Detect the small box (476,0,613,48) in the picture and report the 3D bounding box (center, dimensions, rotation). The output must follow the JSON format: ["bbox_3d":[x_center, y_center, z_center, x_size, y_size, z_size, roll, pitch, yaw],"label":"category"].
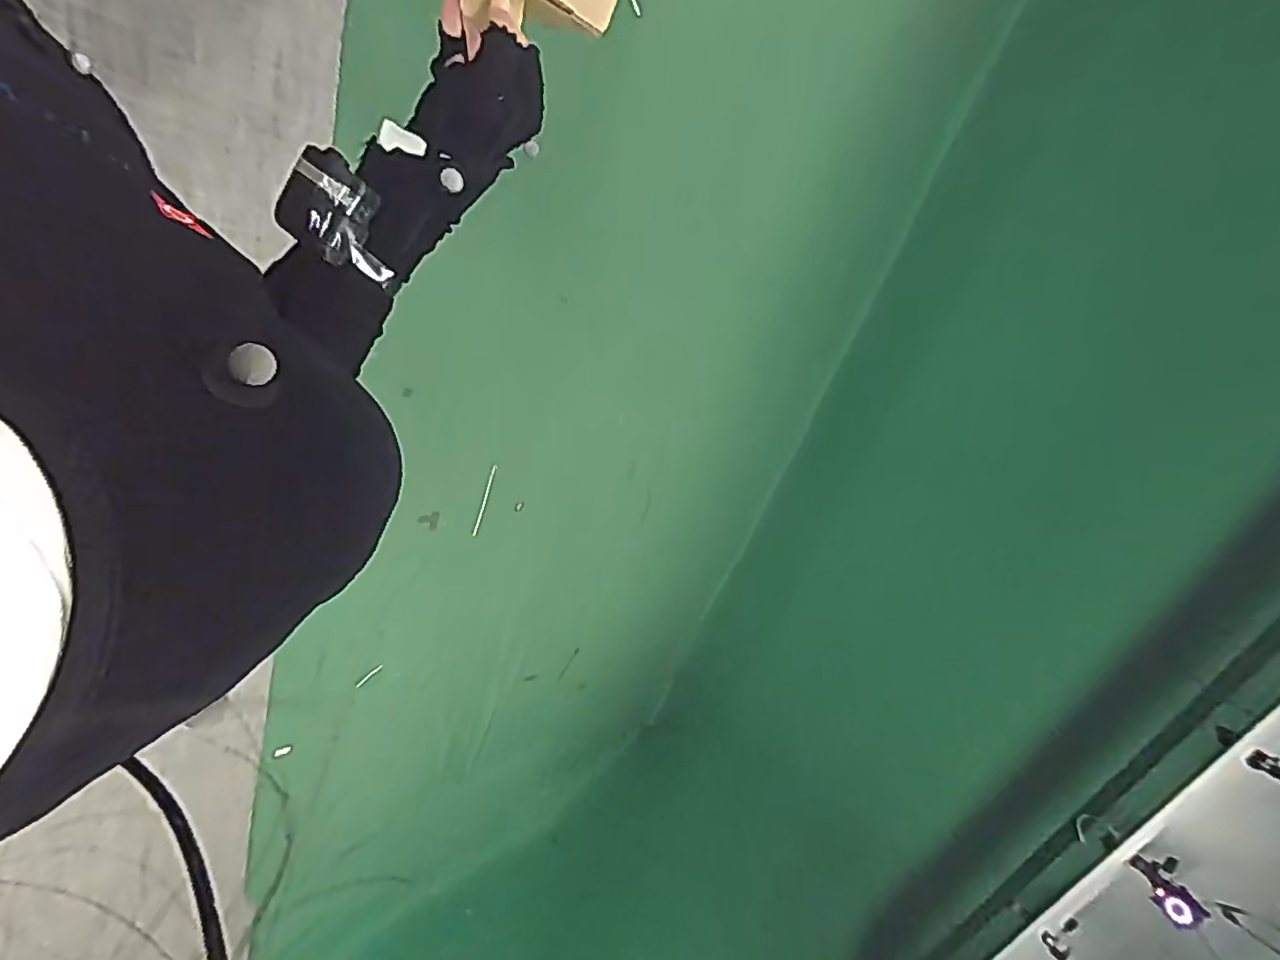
[{"bbox_3d":[-0.102,-0.453,0.376,0.168,0.176,0.179,-2,128,-44],"label":"small box"}]
